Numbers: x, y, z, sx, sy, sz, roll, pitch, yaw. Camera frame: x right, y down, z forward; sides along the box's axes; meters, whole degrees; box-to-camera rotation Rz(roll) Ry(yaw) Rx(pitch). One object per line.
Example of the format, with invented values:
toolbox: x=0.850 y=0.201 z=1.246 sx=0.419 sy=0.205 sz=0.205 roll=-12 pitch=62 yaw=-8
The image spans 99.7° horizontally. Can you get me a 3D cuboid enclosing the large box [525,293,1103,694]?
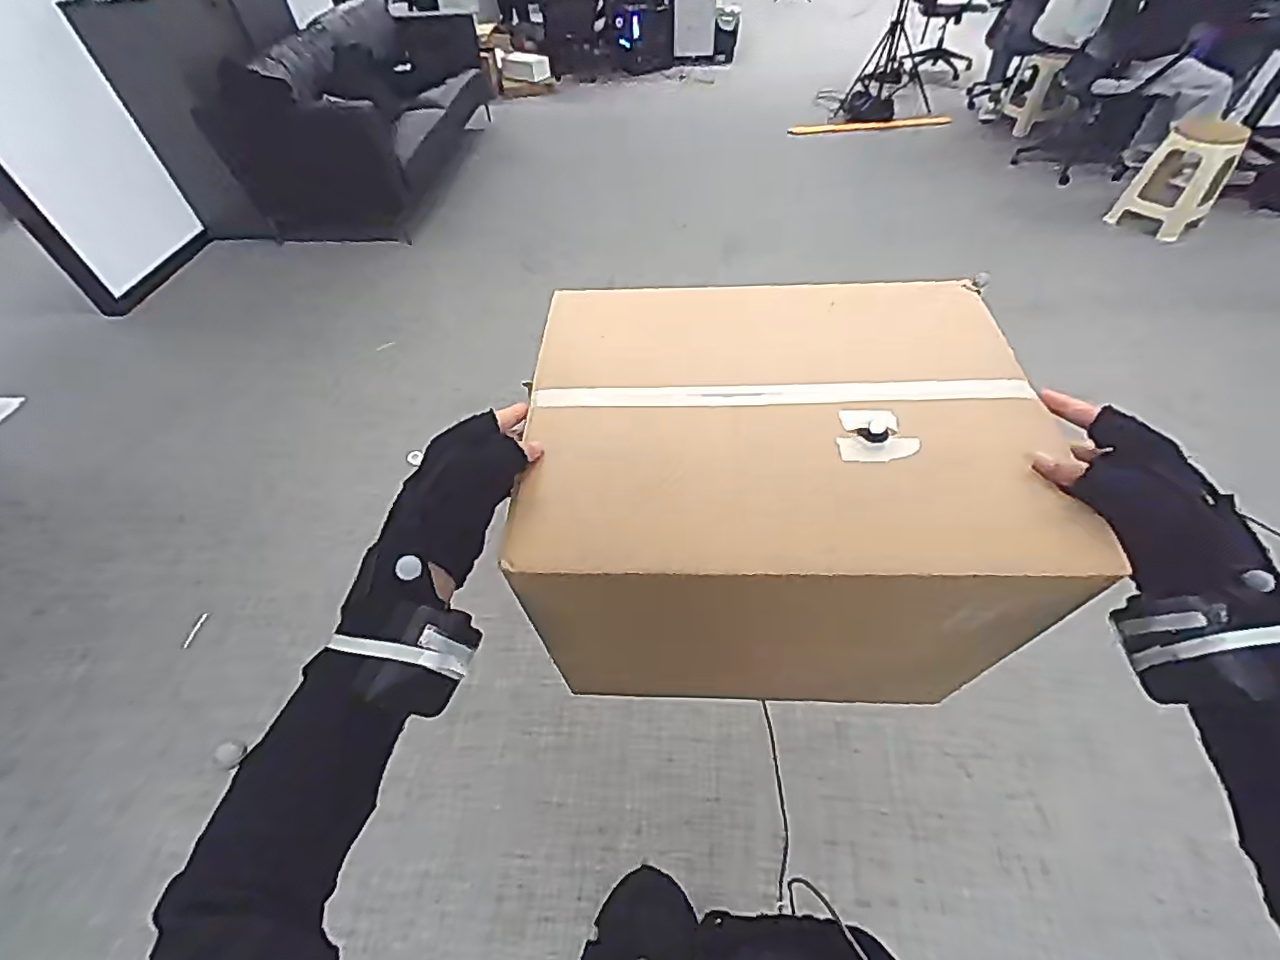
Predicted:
large box: x=0.122 y=0.027 z=0.576 sx=0.408 sy=0.320 sz=0.320 roll=0 pitch=54 yaw=3
